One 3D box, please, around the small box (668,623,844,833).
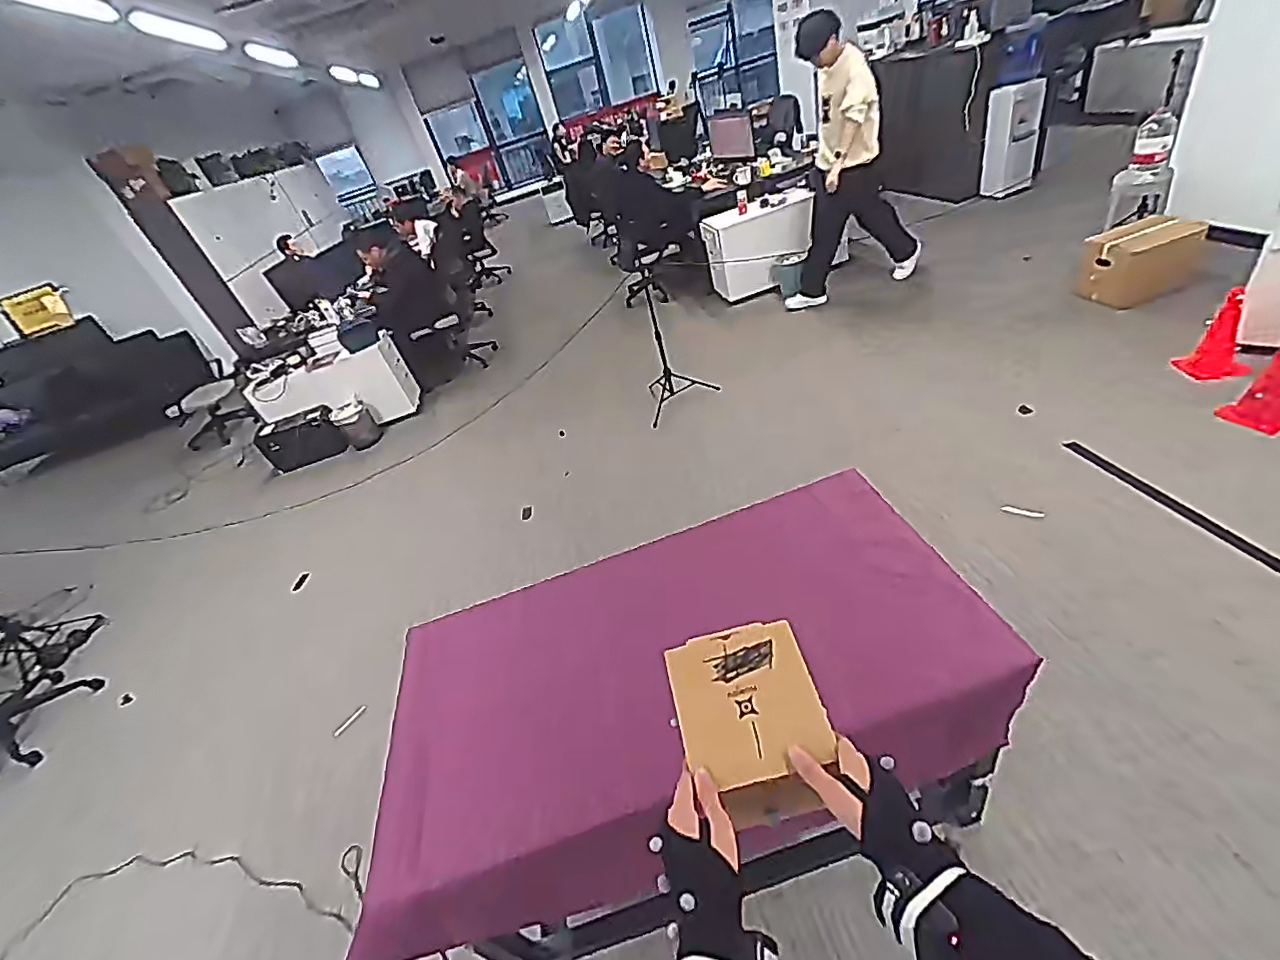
[{"bbox_3d":[0.143,0.318,0.694,0.168,0.176,0.179,-16,43,2],"label":"small box"}]
